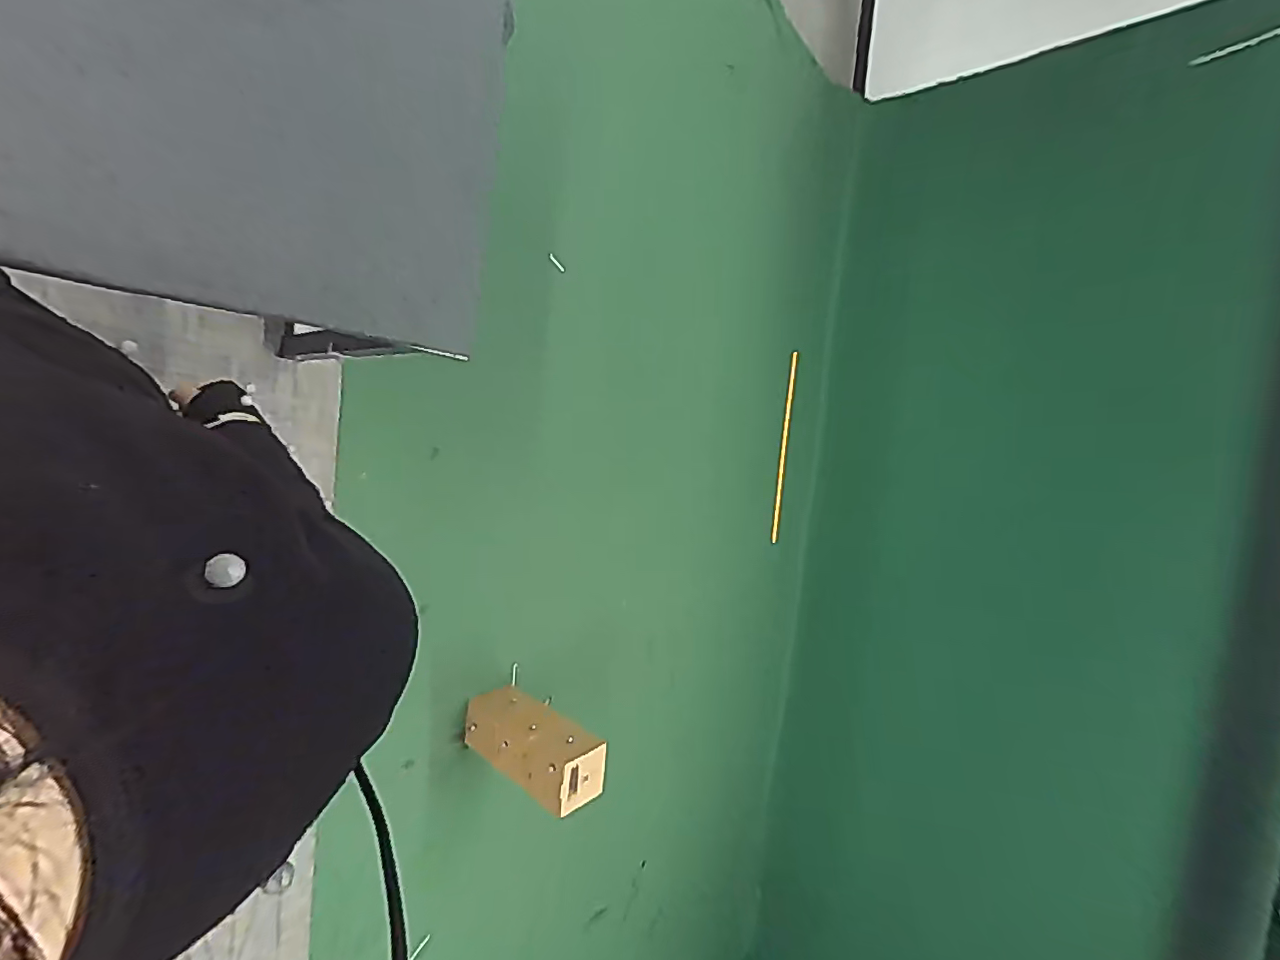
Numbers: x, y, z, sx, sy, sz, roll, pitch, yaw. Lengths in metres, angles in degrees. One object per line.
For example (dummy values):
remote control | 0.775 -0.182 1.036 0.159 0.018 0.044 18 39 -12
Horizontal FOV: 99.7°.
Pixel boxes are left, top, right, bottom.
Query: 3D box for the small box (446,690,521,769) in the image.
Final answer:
small box | -0.534 0.842 1.848 0.179 0.176 0.168 3 94 -53

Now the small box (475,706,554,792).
small box | -0.406 0.861 1.751 0.179 0.176 0.168 1 96 -52
